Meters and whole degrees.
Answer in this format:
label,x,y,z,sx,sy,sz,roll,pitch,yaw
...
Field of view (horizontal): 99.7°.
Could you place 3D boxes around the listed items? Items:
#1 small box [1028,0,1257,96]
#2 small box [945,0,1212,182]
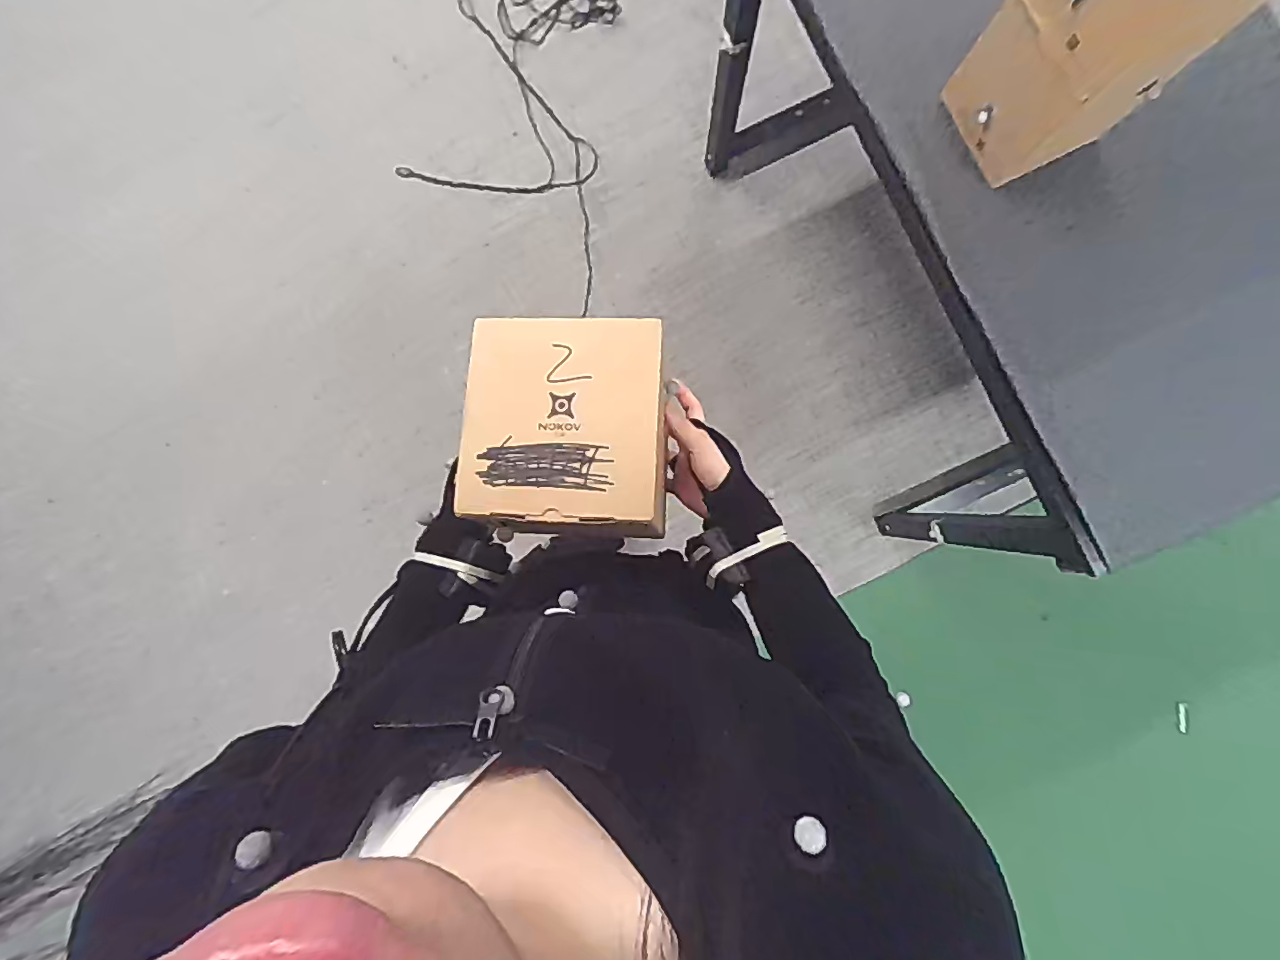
label,x,y,z,sx,sy,sz,roll,pitch,yaw
small box,0.545,-0.545,0.540,0.179,0.176,0.168,-26,87,0
small box,0.548,-0.536,0.703,0.179,0.176,0.168,-26,86,-1
